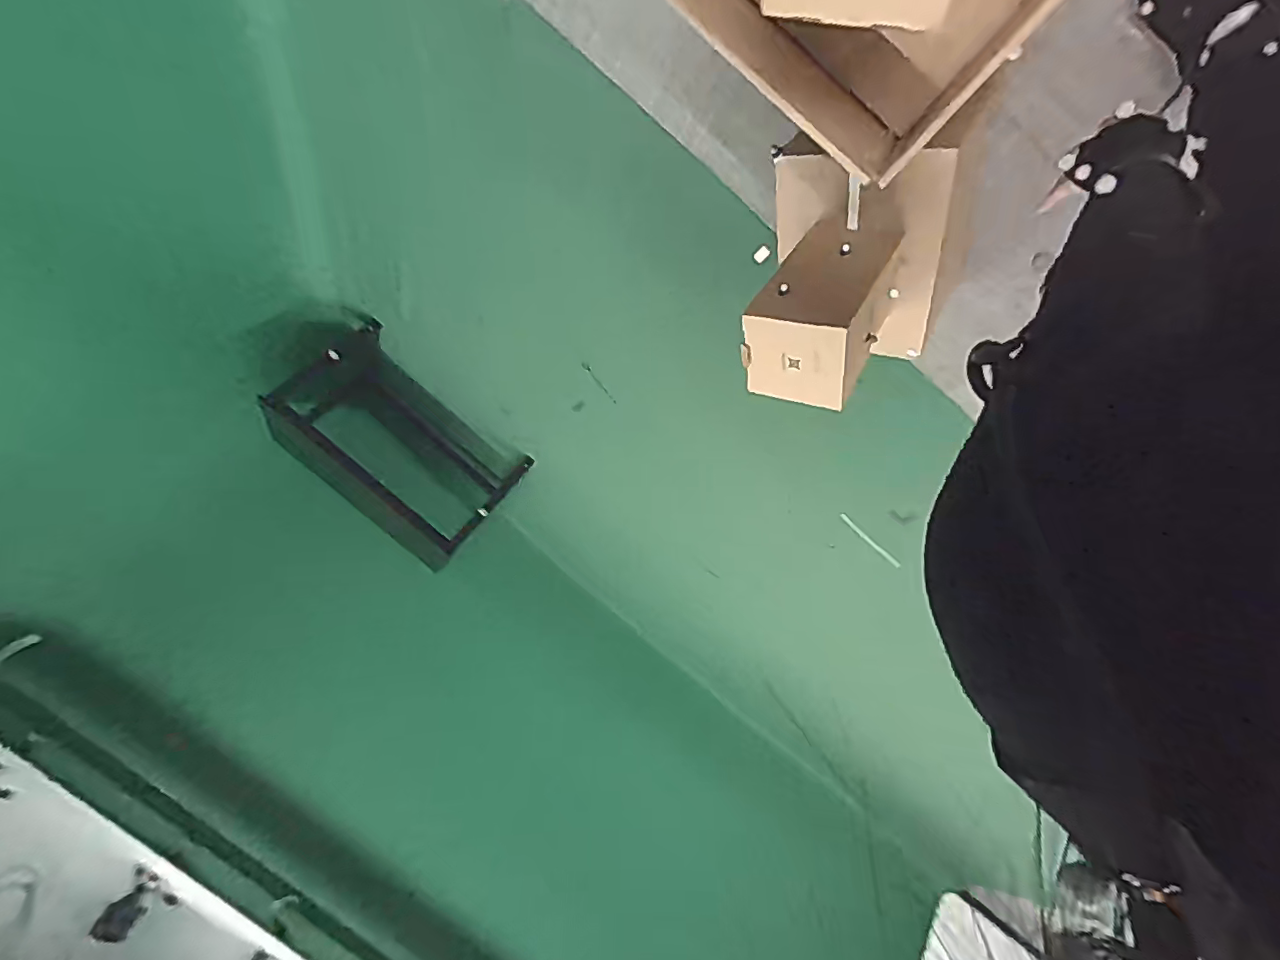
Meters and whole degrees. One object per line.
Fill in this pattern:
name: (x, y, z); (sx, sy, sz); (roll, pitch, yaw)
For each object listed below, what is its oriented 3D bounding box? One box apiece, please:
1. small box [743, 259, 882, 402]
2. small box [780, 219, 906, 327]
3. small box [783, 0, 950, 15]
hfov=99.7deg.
small box: (0.298, -0.266, 0.940); (0.179, 0.176, 0.168); (18, 146, 29)
small box: (0.379, -0.376, 1.028); (0.179, 0.176, 0.168); (19, 146, 27)
small box: (0.218, -0.529, 0.452); (0.168, 0.176, 0.179); (25, 149, 21)
